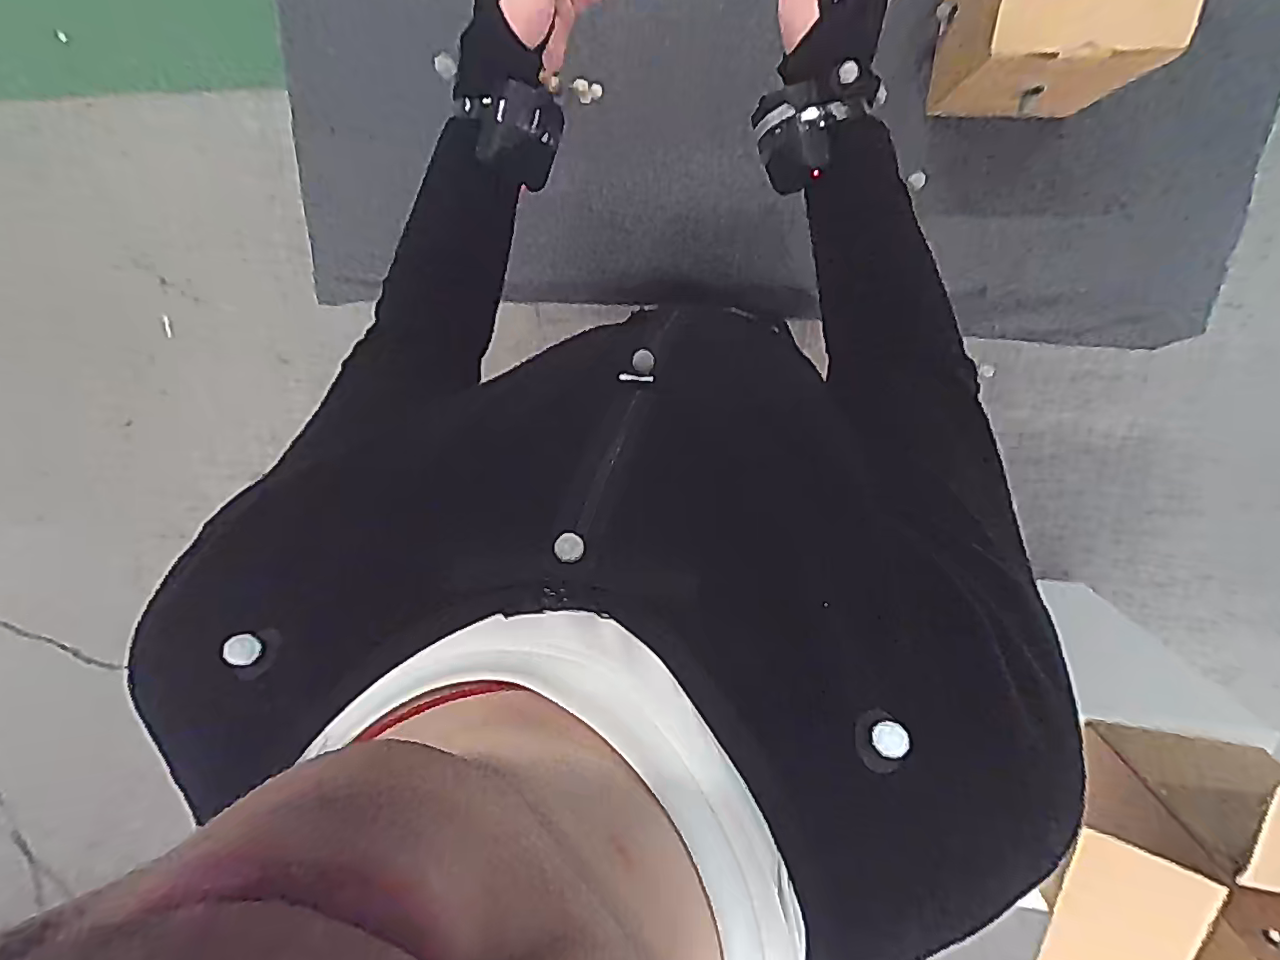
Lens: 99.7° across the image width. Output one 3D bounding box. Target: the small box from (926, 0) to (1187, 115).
[{"bbox_3d":[0.413,-0.491,0.547,0.168,0.176,0.179,4,110,6],"label":"small box"}]
